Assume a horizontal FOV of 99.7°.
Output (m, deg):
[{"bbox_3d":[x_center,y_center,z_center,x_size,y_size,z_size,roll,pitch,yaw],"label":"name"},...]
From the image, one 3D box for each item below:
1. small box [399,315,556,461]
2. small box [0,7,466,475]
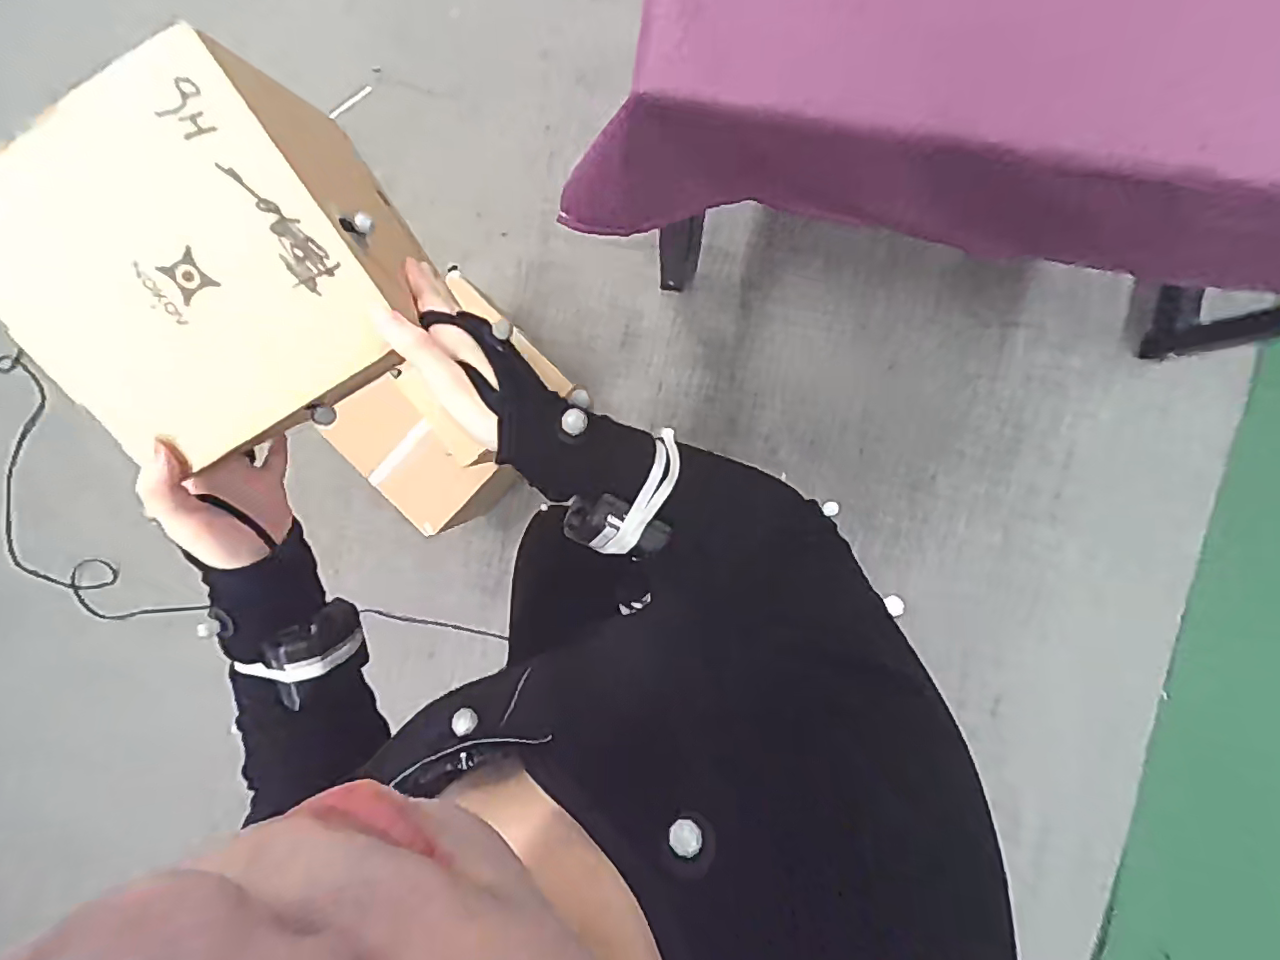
[{"bbox_3d":[-0.266,-0.151,0.929,0.168,0.176,0.179,-37,96,4],"label":"small box"},{"bbox_3d":[-0.242,-0.134,0.349,0.179,0.176,0.168,-28,111,6],"label":"small box"}]
